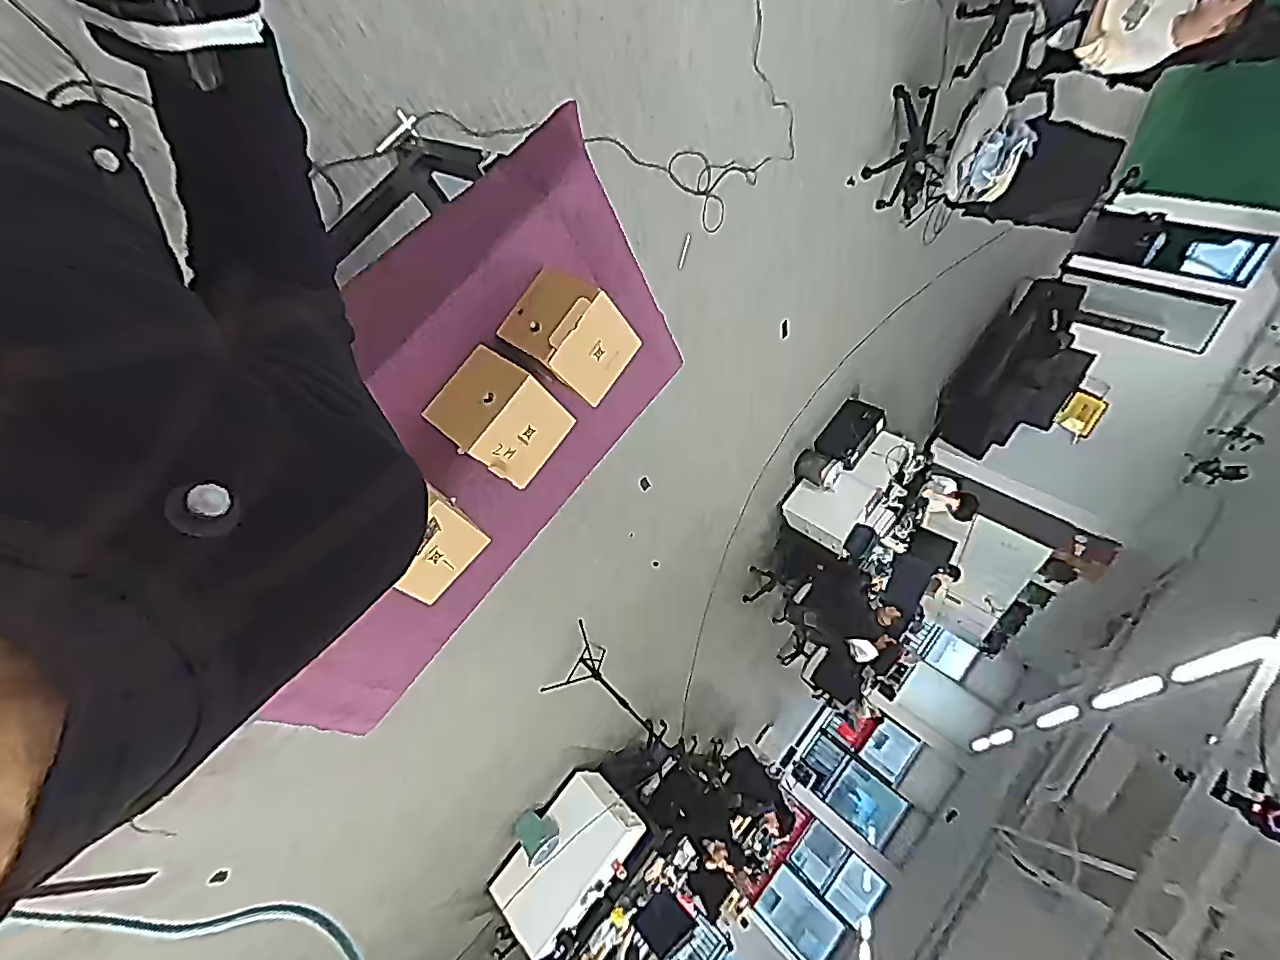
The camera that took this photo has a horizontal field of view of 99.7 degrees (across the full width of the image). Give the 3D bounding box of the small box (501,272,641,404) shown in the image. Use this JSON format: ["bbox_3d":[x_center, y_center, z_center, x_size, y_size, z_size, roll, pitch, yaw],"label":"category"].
[{"bbox_3d":[-0.136,-0.282,1.057,0.168,0.176,0.179,-54,147,-2],"label":"small box"}]

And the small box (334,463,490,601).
[{"bbox_3d":[-0.424,0.090,1.007,0.168,0.176,0.179,-48,147,-12],"label":"small box"}]
